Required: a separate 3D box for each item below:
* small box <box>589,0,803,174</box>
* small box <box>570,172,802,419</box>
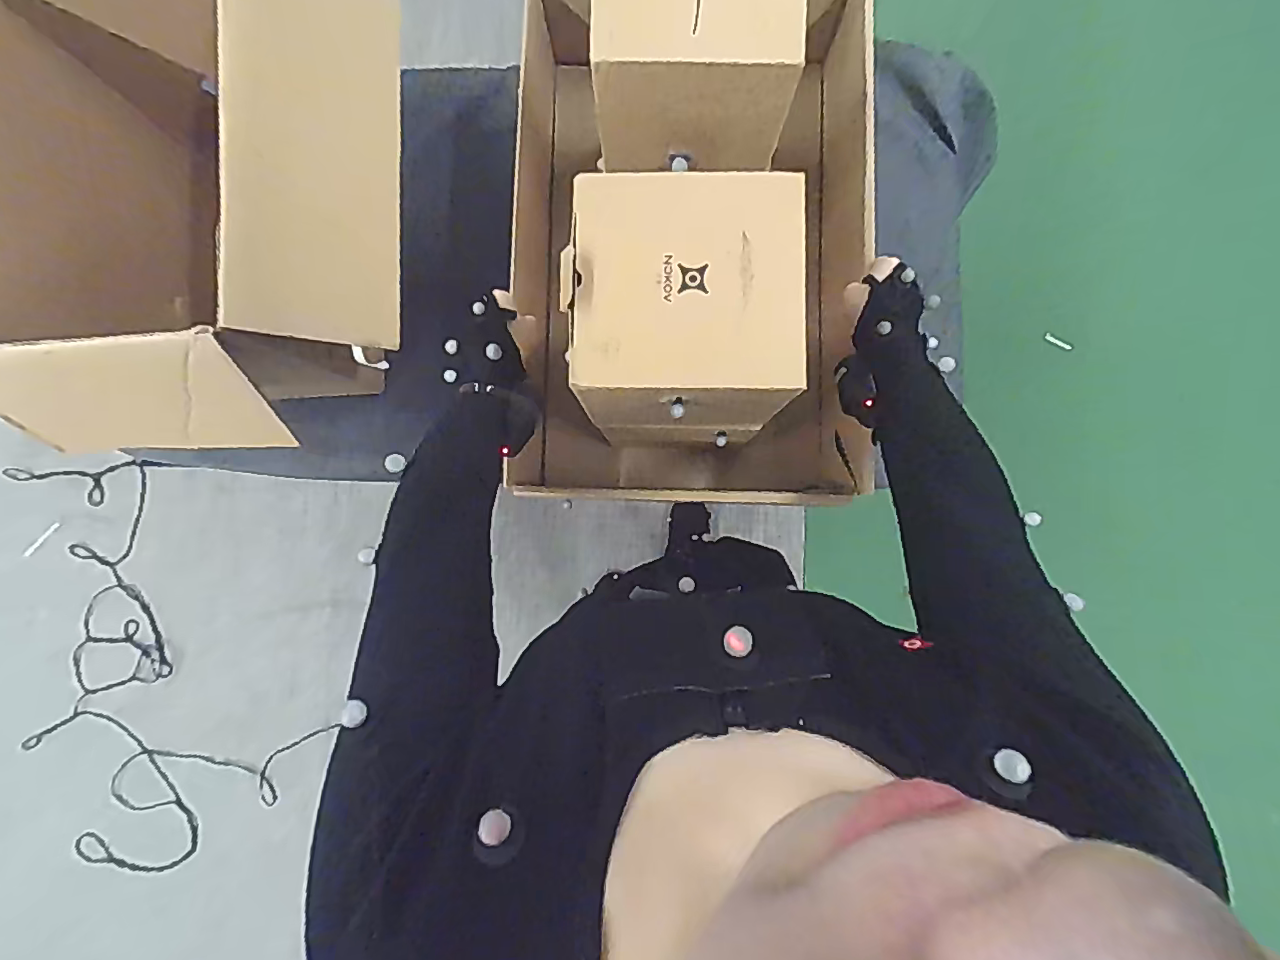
[{"bbox_3d":[0.046,-0.403,0.498,0.168,0.176,0.179,2,89,1],"label":"small box"},{"bbox_3d":[0.036,-0.148,0.488,0.179,0.176,0.168,0,87,0],"label":"small box"}]
